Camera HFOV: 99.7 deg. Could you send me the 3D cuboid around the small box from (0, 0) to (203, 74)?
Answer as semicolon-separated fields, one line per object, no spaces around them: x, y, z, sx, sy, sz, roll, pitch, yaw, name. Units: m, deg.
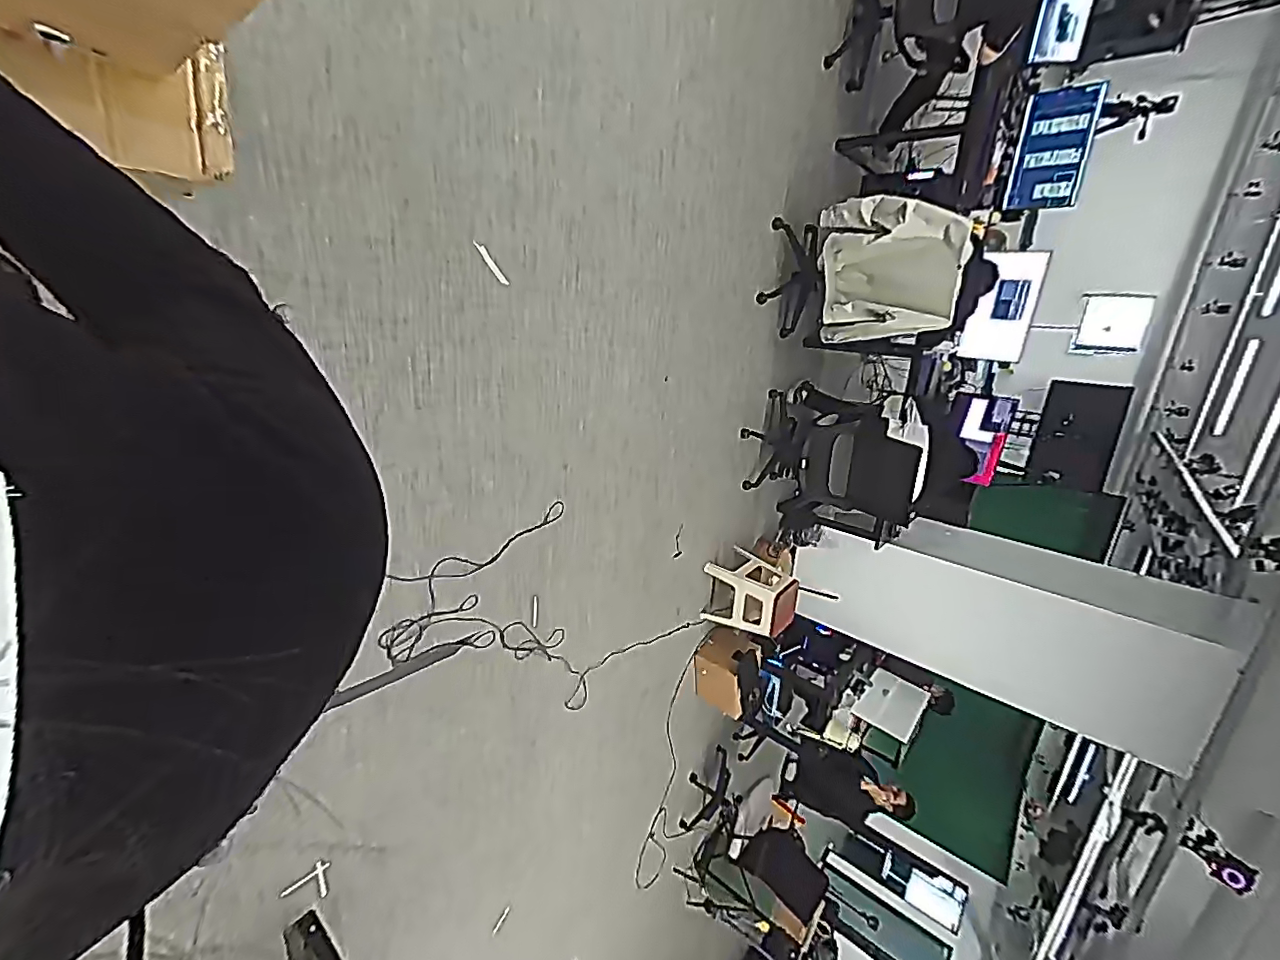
-0.530;-0.513;0.492;0.168;0.176;0.179;-13;116;-47;small box
